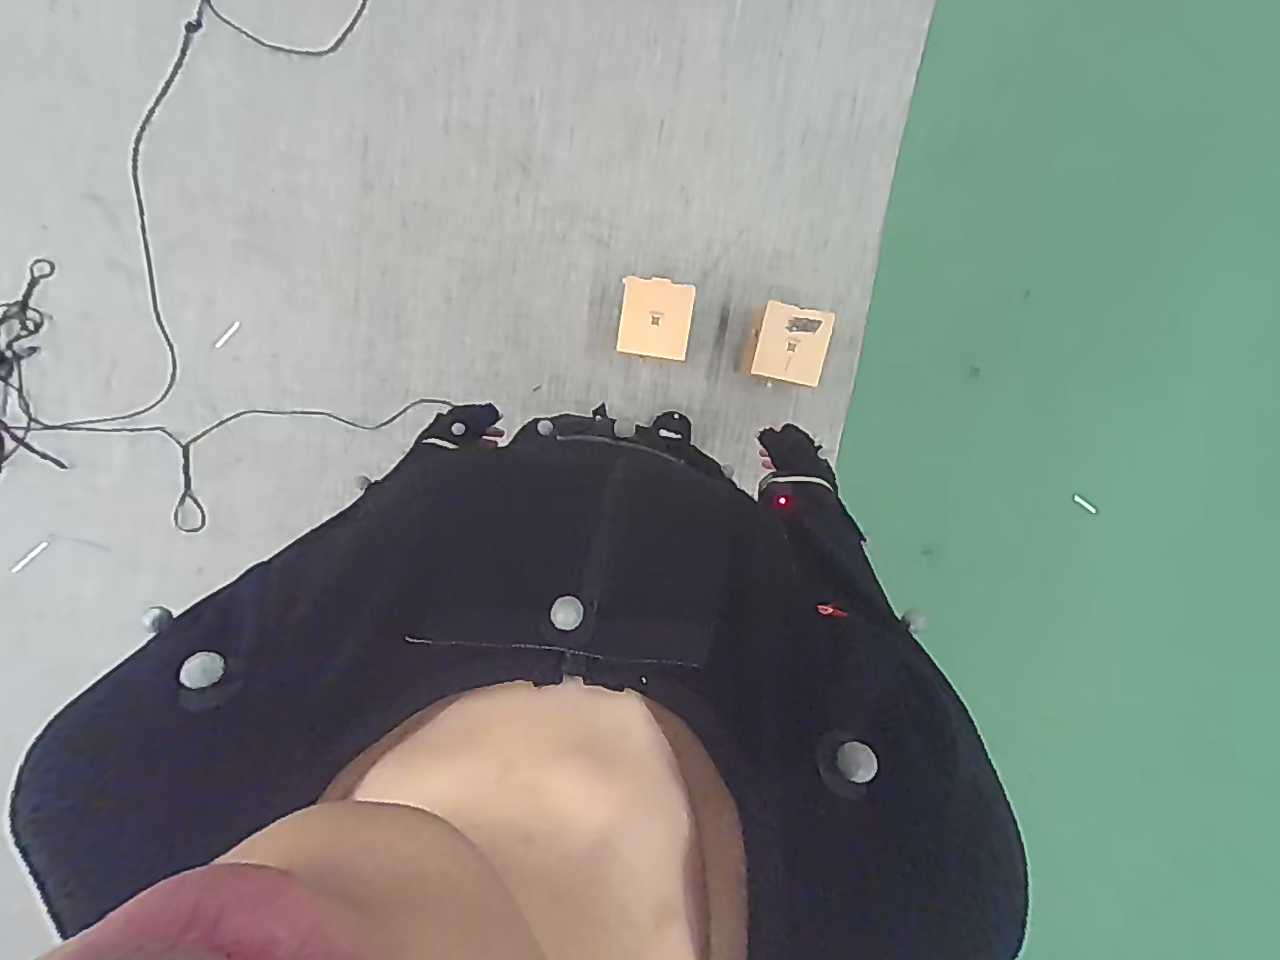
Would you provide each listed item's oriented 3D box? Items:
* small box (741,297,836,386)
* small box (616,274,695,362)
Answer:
[{"bbox_3d":[0.358,-0.336,1.340,0.168,0.176,0.179,12,100,-1],"label":"small box"},{"bbox_3d":[0.036,-0.391,1.335,0.168,0.176,0.179,8,98,-1],"label":"small box"}]
